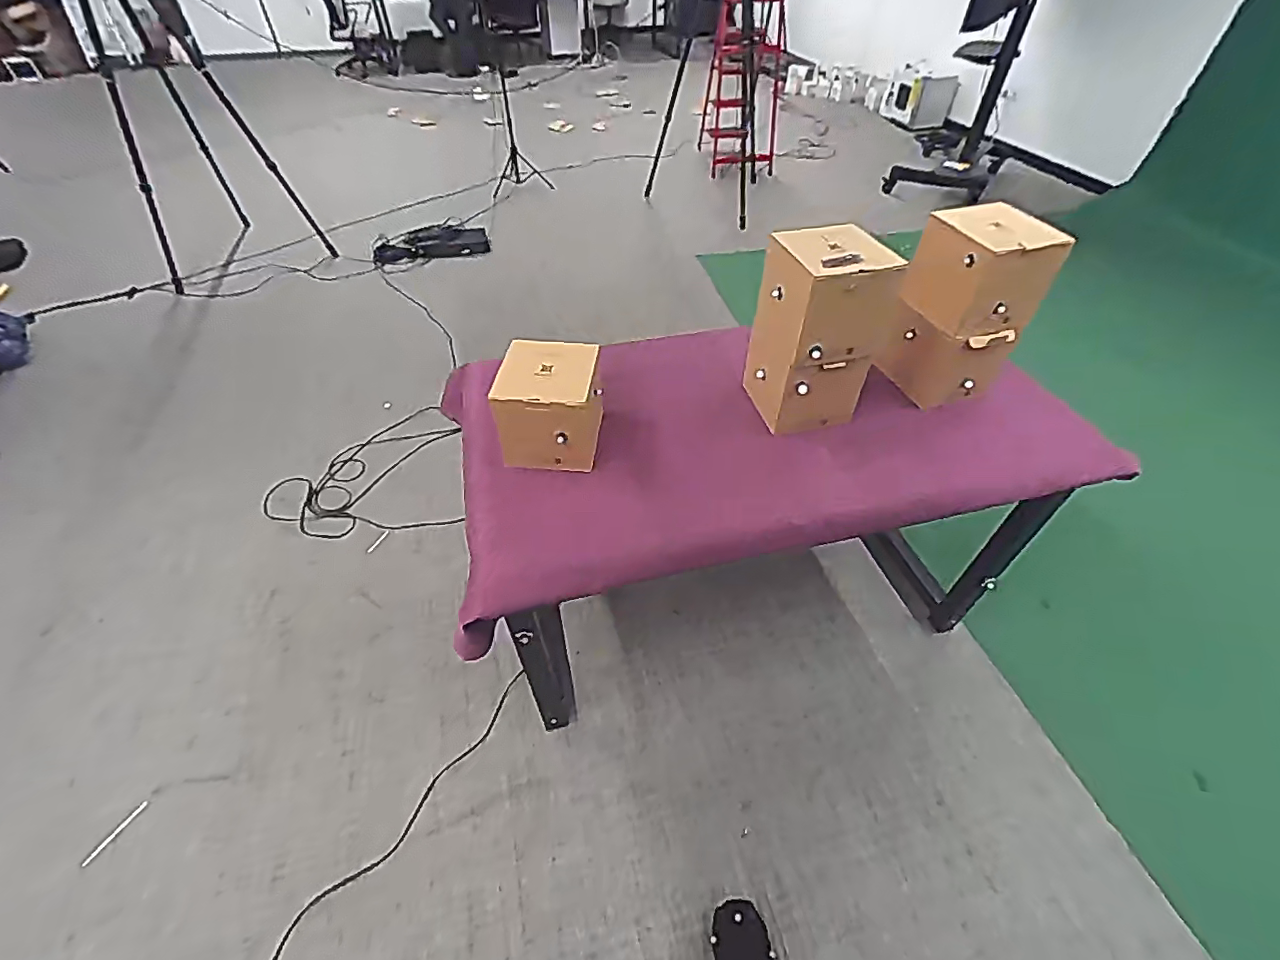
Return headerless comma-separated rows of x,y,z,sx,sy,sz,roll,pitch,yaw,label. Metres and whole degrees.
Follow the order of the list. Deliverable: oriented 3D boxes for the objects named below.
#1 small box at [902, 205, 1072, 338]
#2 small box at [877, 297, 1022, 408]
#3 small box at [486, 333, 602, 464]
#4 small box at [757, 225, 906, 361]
0.632,-0.390,1.014,0.168,0.176,0.179,-13,49,-11,small box
0.631,-0.276,1.130,0.168,0.176,0.179,-13,49,-11,small box
-0.163,-0.146,0.989,0.168,0.176,0.179,4,47,3,small box
0.322,-0.322,0.949,0.168,0.176,0.179,-10,47,-10,small box
